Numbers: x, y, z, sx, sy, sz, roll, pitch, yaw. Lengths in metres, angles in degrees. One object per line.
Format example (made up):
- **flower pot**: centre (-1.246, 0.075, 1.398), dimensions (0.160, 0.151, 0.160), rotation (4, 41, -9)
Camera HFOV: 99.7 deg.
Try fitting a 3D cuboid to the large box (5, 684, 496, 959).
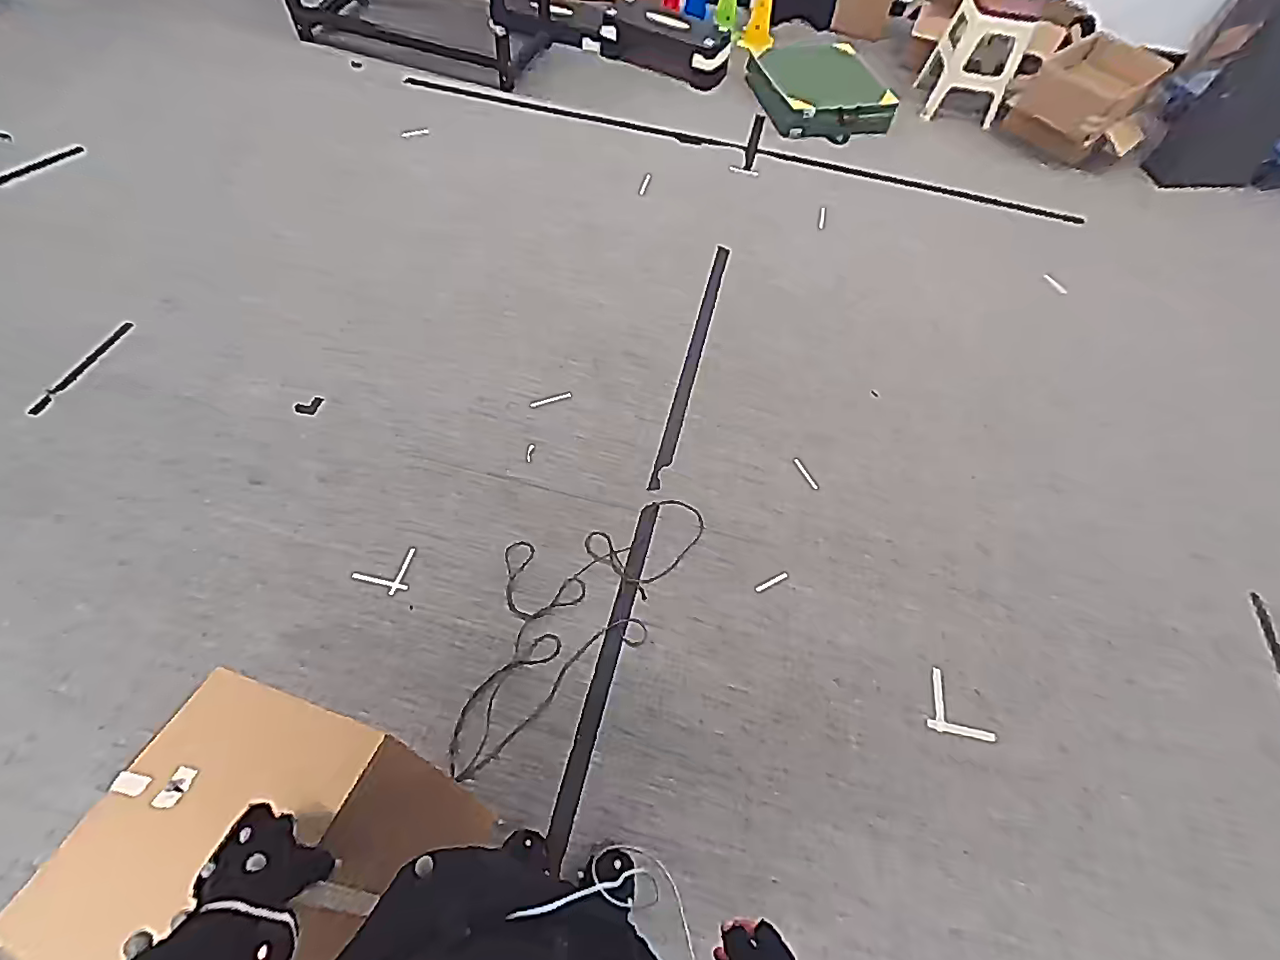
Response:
- **large box**: centre (-0.468, 0.542, 0.758), dimensions (0.320, 0.408, 0.320), rotation (10, 50, 20)
